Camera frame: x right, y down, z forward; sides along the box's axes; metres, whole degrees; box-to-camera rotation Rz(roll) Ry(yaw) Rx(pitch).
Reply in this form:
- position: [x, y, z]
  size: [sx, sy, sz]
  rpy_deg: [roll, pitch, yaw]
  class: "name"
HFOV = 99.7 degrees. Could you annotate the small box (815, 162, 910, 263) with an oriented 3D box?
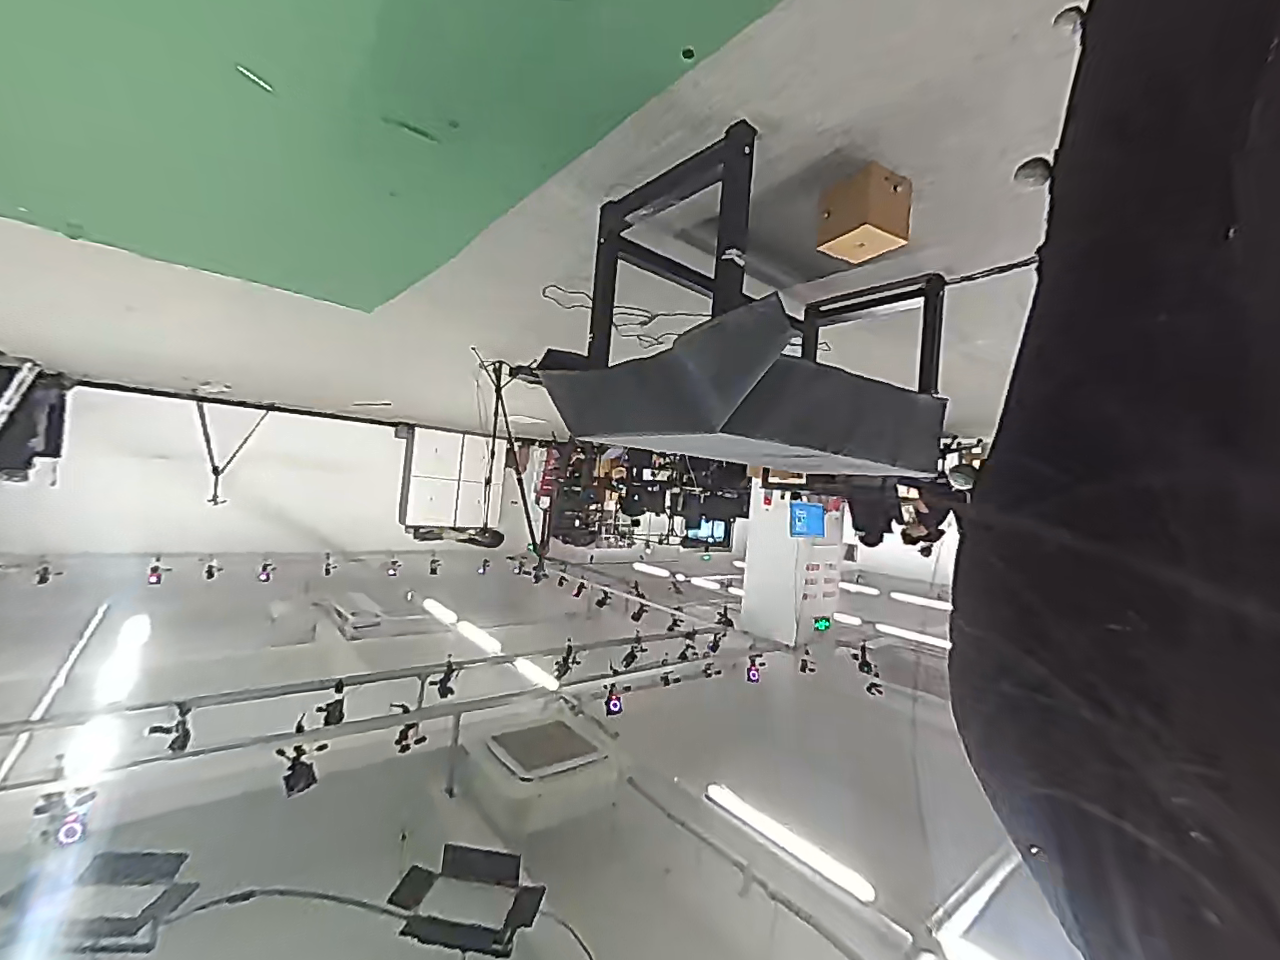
- position: [0.604, -0.720, 1.468]
  size: [0.168, 0.176, 0.179]
  rpy_deg: [4, 180, -28]
  class: "small box"
